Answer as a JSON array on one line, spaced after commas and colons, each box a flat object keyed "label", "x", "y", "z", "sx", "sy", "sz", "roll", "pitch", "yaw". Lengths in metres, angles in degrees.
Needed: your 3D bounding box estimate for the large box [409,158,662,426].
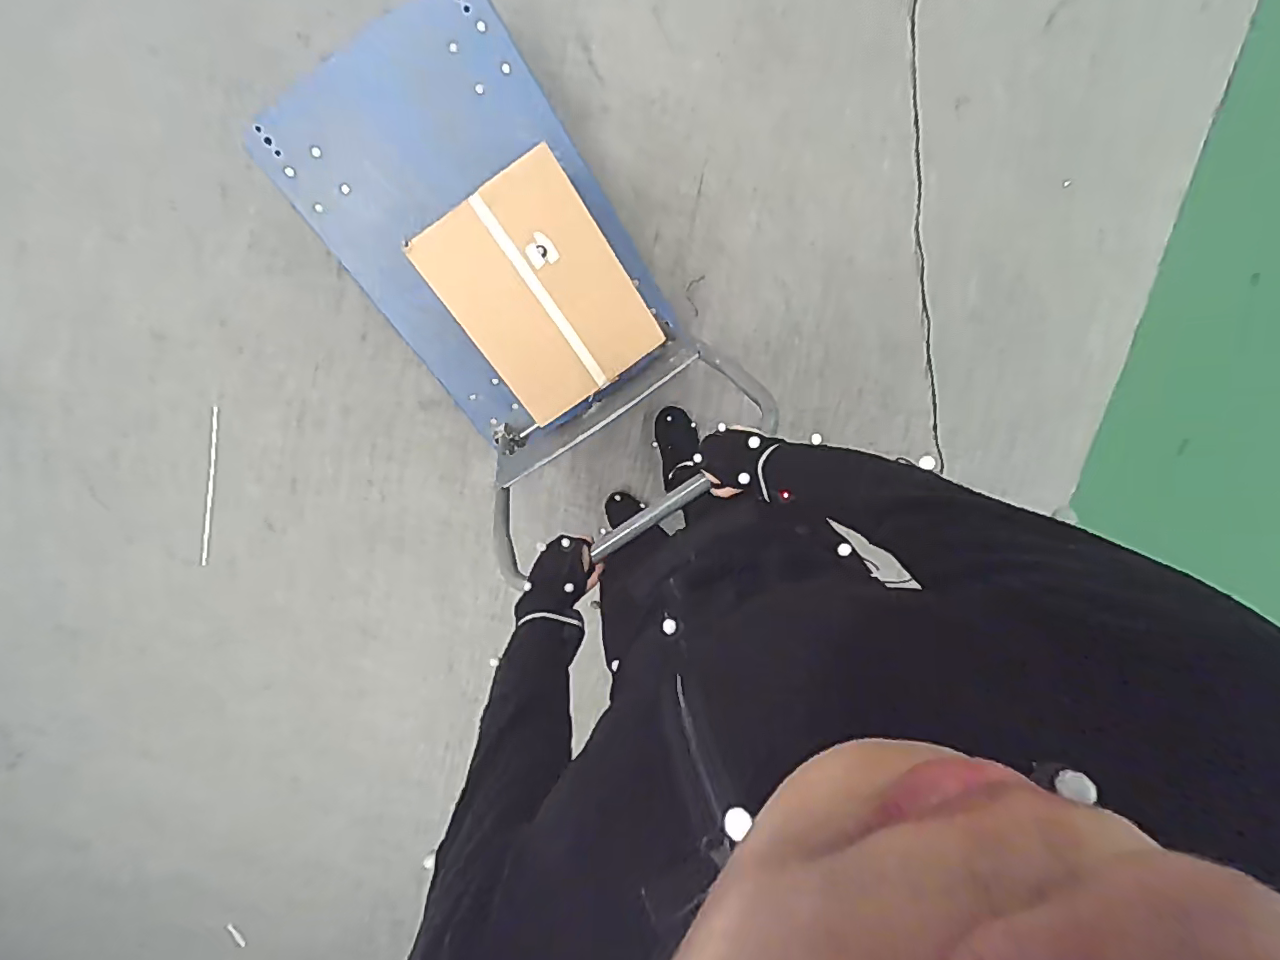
[{"label": "large box", "x": -0.207, "y": -0.391, "z": 1.174, "sx": 0.320, "sy": 0.320, "sz": 0.408, "roll": -35, "pitch": 112, "yaw": 3}]
